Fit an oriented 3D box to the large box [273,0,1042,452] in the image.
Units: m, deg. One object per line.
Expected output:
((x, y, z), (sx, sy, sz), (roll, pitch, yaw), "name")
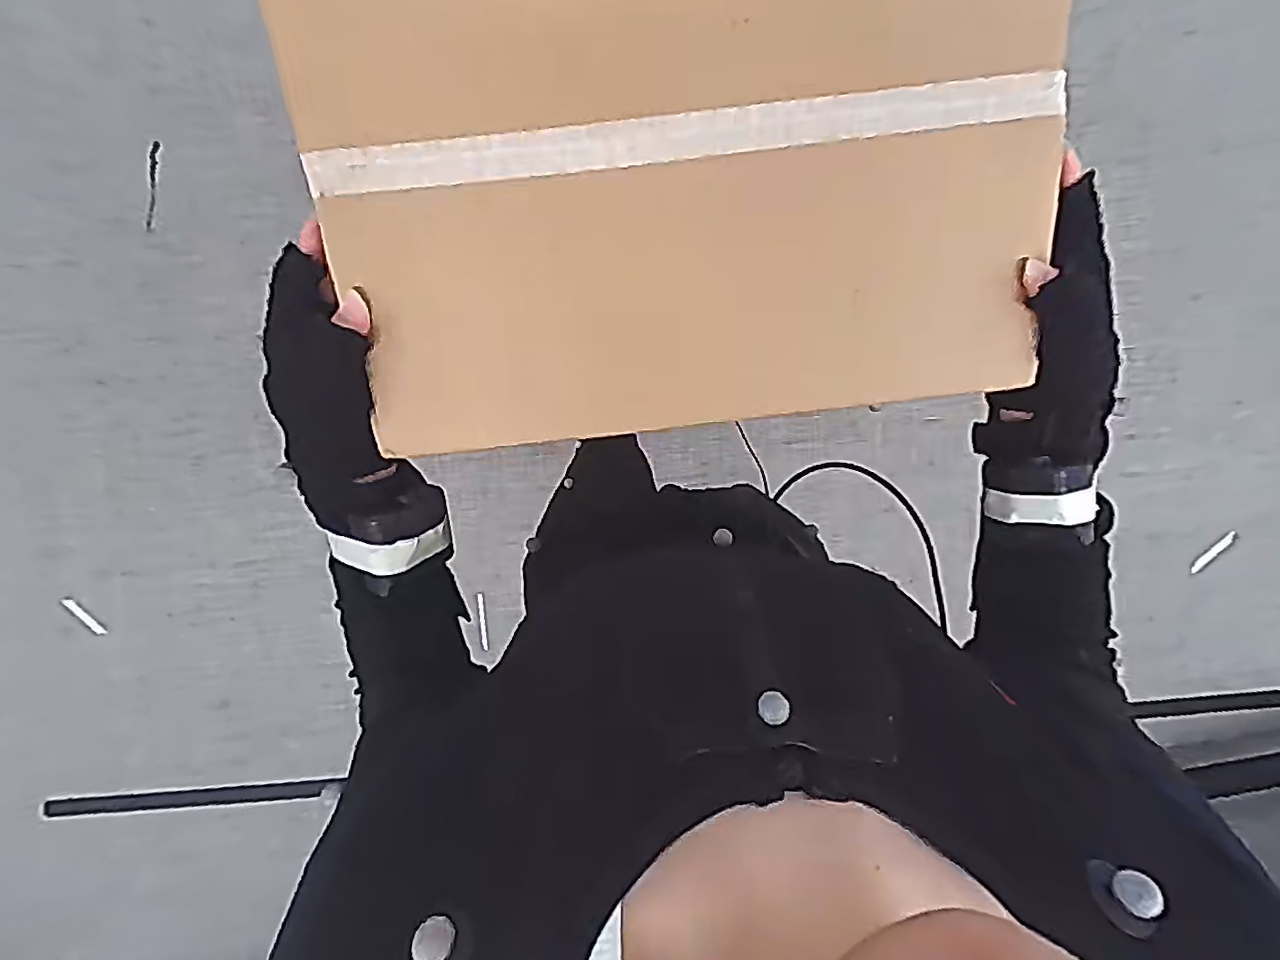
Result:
((0.015, -0.232, 0.440), (0.408, 0.320, 0.320), (-7, 107, -1), "large box")
